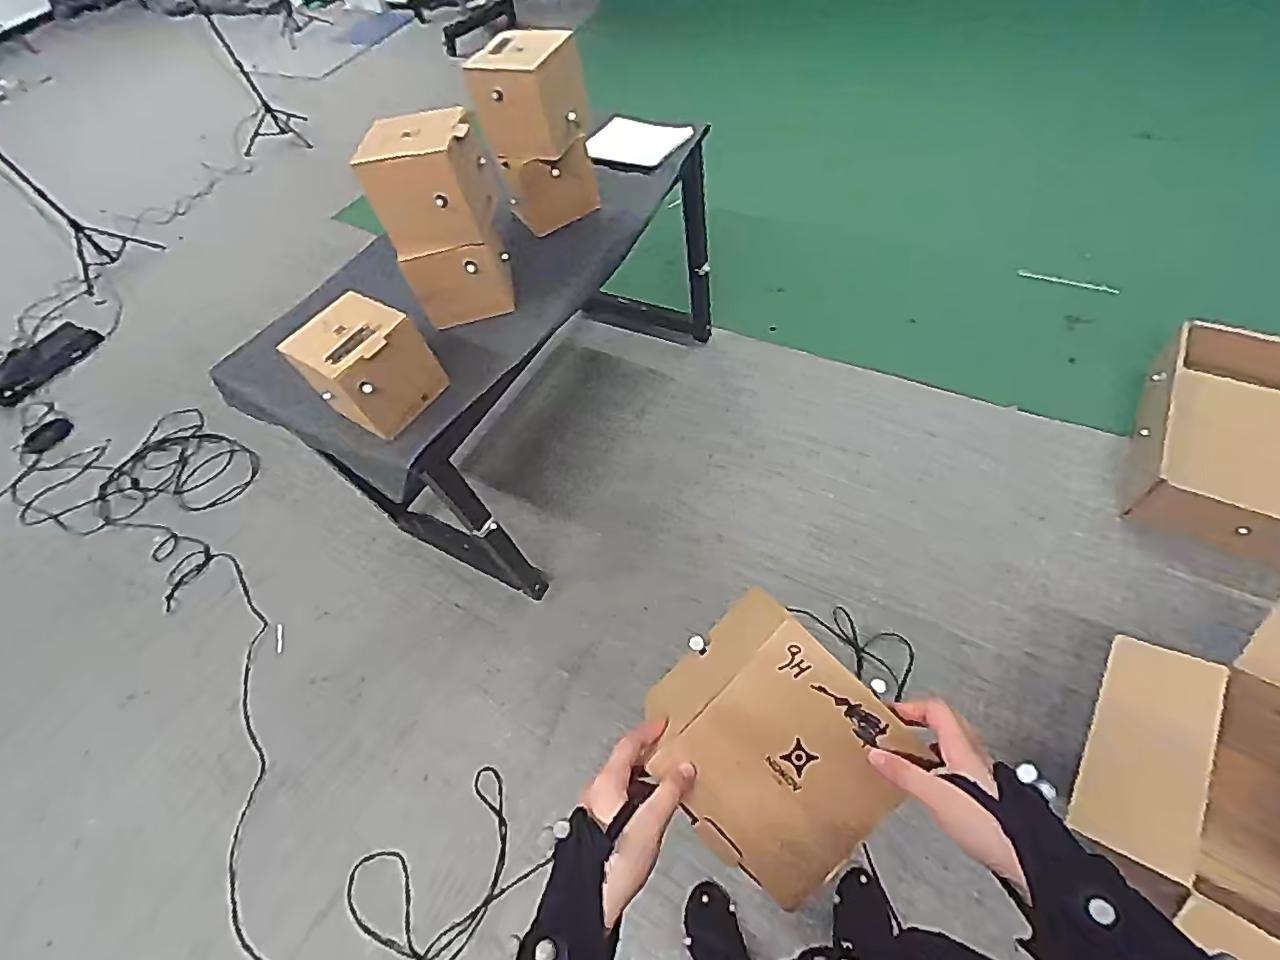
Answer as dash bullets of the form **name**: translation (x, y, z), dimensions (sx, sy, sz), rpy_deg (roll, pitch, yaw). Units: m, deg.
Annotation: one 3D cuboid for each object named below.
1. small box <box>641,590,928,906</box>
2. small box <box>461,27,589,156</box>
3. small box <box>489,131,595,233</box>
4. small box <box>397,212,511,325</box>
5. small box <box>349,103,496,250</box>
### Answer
- **small box**: translation (0.121, 0.231, 0.519), dimensions (0.168, 0.176, 0.179), rpy_deg (44, 90, 3)
- **small box**: translation (-0.229, -0.804, 1.124), dimensions (0.179, 0.176, 0.168), rpy_deg (17, 63, 20)
- **small box**: translation (-0.219, -0.720, 1.267), dimensions (0.179, 0.176, 0.168), rpy_deg (-31, 58, -9)
- **small box**: translation (-0.374, -0.451, 1.120), dimensions (0.179, 0.176, 0.168), rpy_deg (-14, 56, 1)
- **small box**: translation (-0.383, -0.548, 0.989), dimensions (0.179, 0.176, 0.168), rpy_deg (-4, 56, 8)
